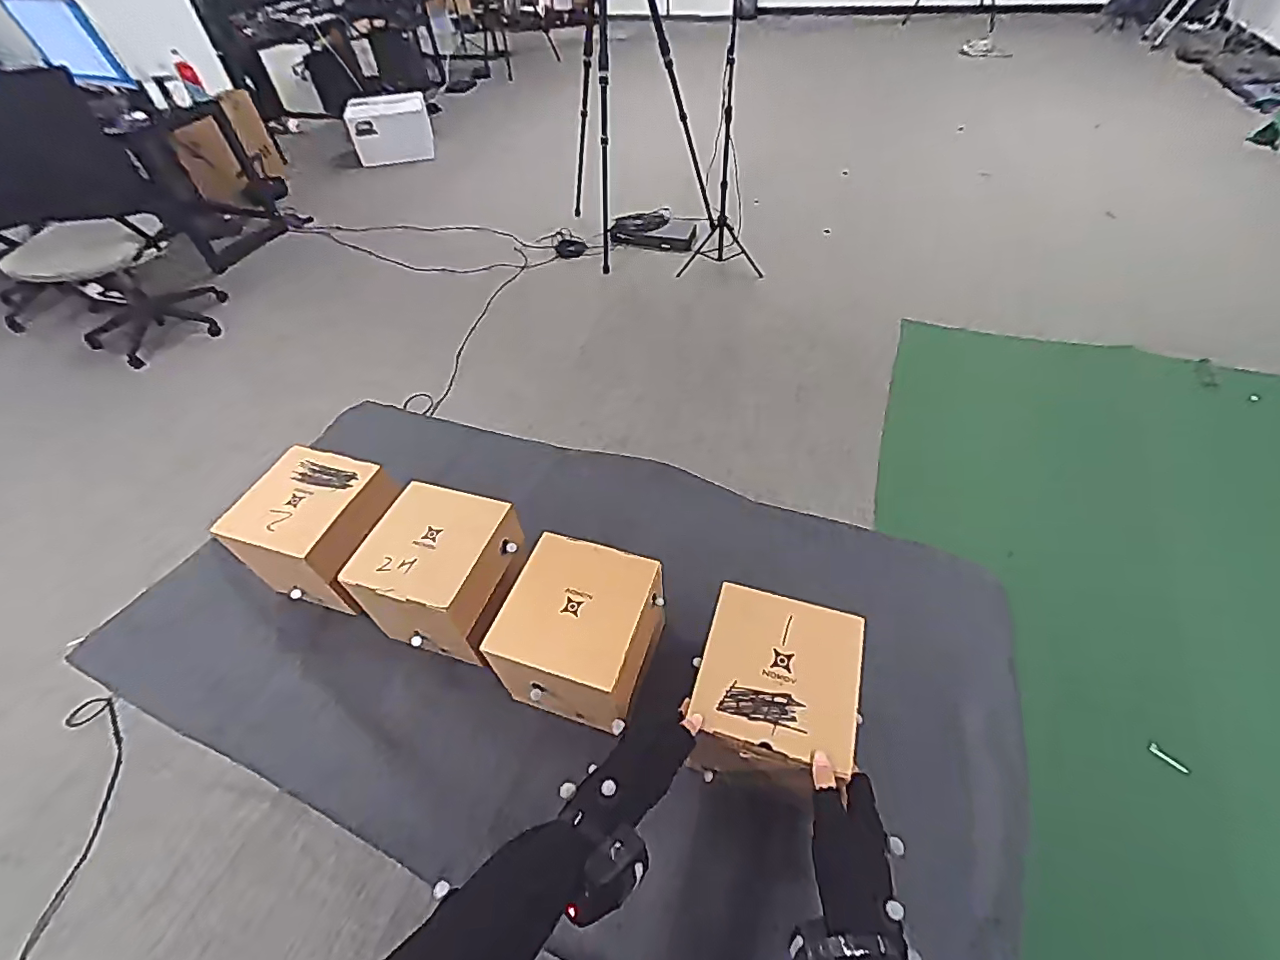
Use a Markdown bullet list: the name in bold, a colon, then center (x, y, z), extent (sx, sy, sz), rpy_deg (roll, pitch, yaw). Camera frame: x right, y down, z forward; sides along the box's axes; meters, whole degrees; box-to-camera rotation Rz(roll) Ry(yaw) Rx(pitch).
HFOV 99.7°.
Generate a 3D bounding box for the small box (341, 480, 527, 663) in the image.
- **small box**: center (-0.277, 0.132, 0.780), extent (0.168, 0.176, 0.179), rpy_deg (12, 50, 14)

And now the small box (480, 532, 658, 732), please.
- **small box**: center (-0.076, 0.201, 0.709), extent (0.168, 0.176, 0.179), rpy_deg (13, 50, 15)
